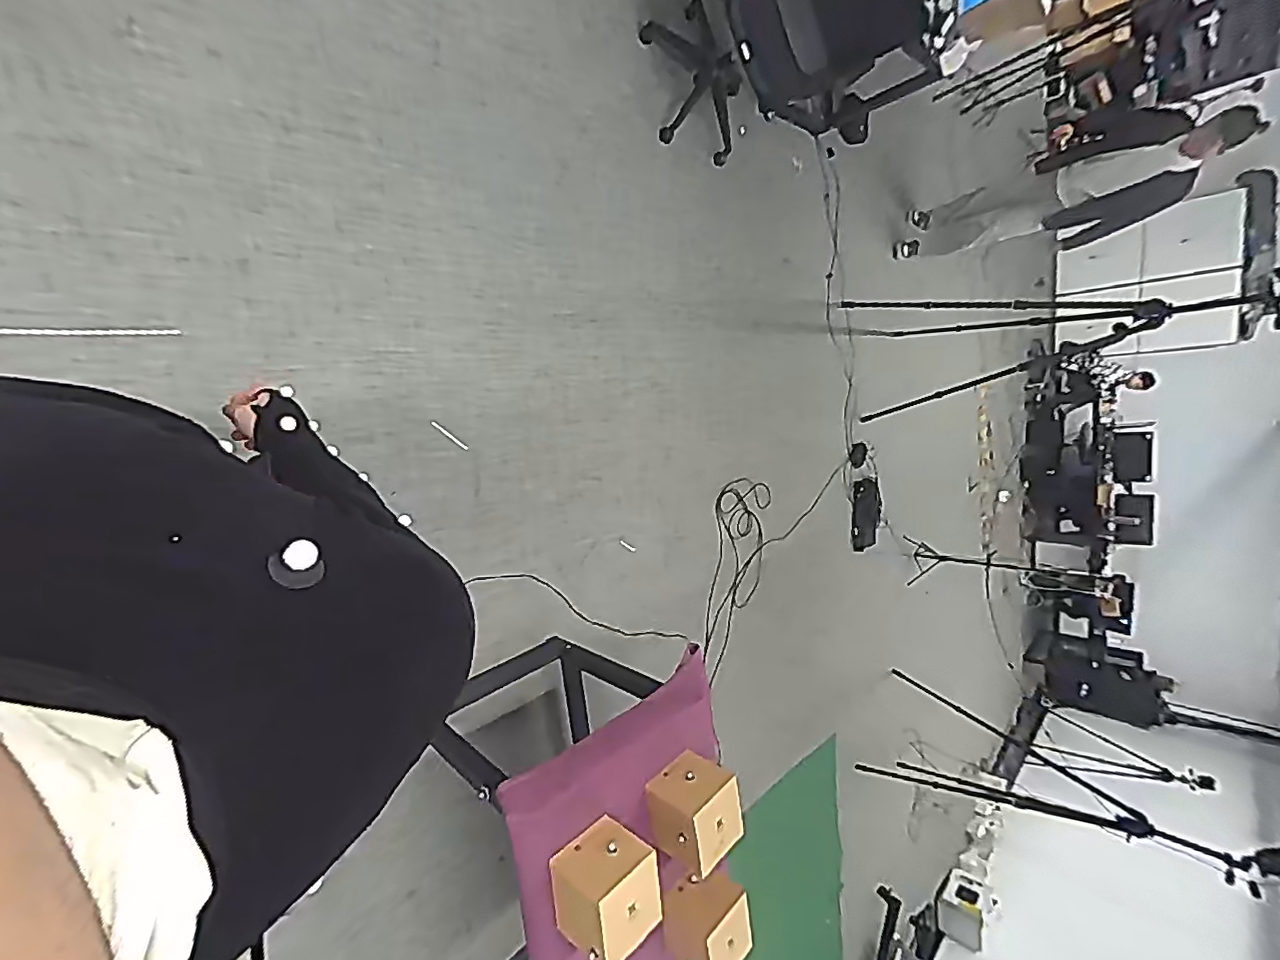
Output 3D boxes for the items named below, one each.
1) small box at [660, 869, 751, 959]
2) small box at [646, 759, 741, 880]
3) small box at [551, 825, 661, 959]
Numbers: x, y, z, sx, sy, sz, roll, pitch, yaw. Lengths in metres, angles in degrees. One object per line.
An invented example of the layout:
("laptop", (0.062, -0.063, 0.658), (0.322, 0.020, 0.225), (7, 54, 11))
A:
("small box", (0.167, 1.168, 1.414), (0.168, 0.176, 0.179), (-16, 102, -43))
("small box", (0.131, 0.836, 1.361), (0.168, 0.176, 0.179), (-18, 105, -41))
("small box", (-0.077, 0.888, 1.164), (0.168, 0.176, 0.179), (-14, 102, -44))
